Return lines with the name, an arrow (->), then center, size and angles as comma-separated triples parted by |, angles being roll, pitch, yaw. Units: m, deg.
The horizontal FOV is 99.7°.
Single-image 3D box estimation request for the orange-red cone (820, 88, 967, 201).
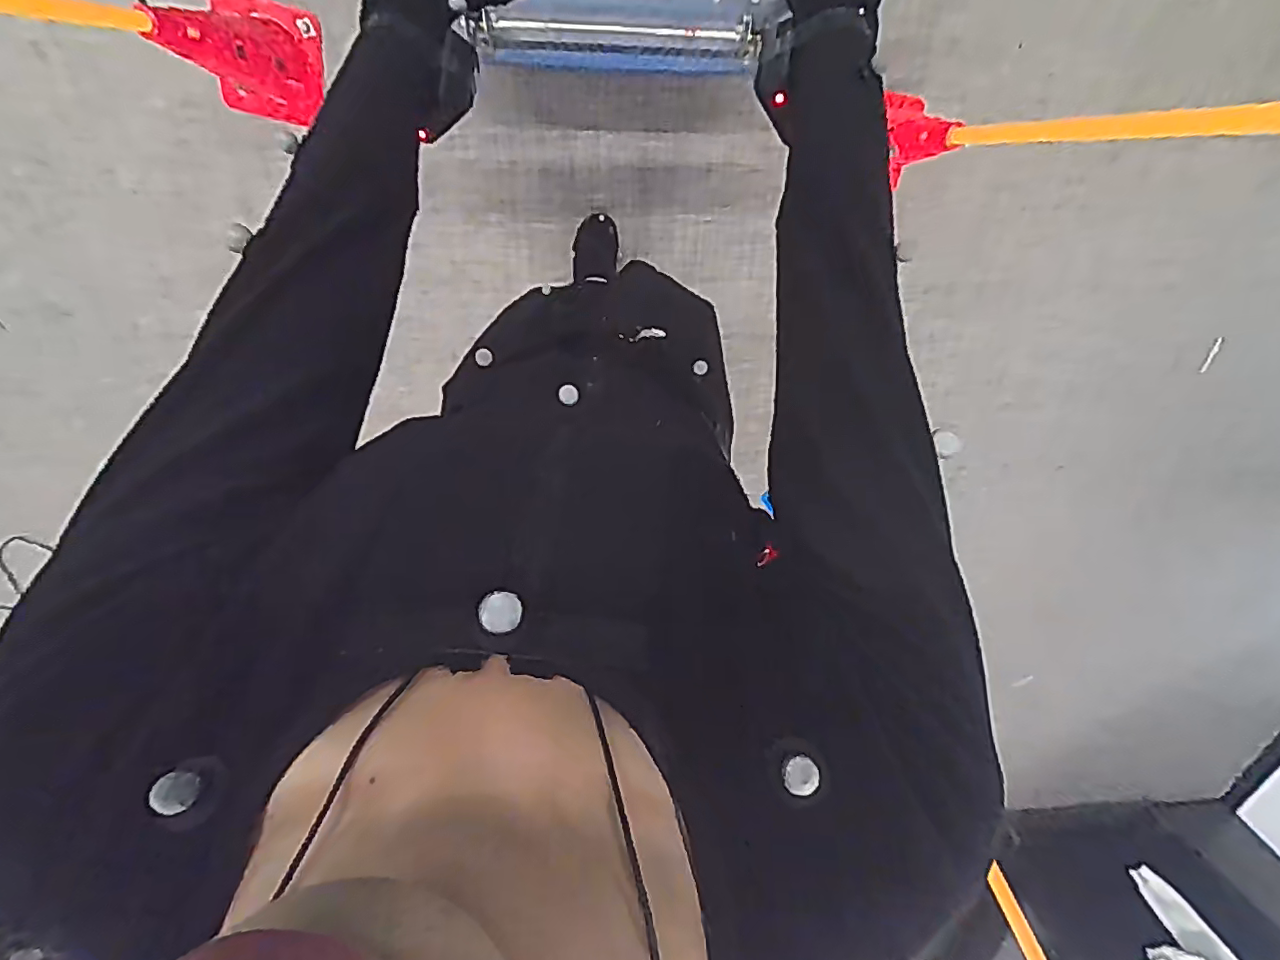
orange-red cone -> 0.543, -0.680, 1.093 | 0.198, 0.360, 0.199 | 8, 119, -9
